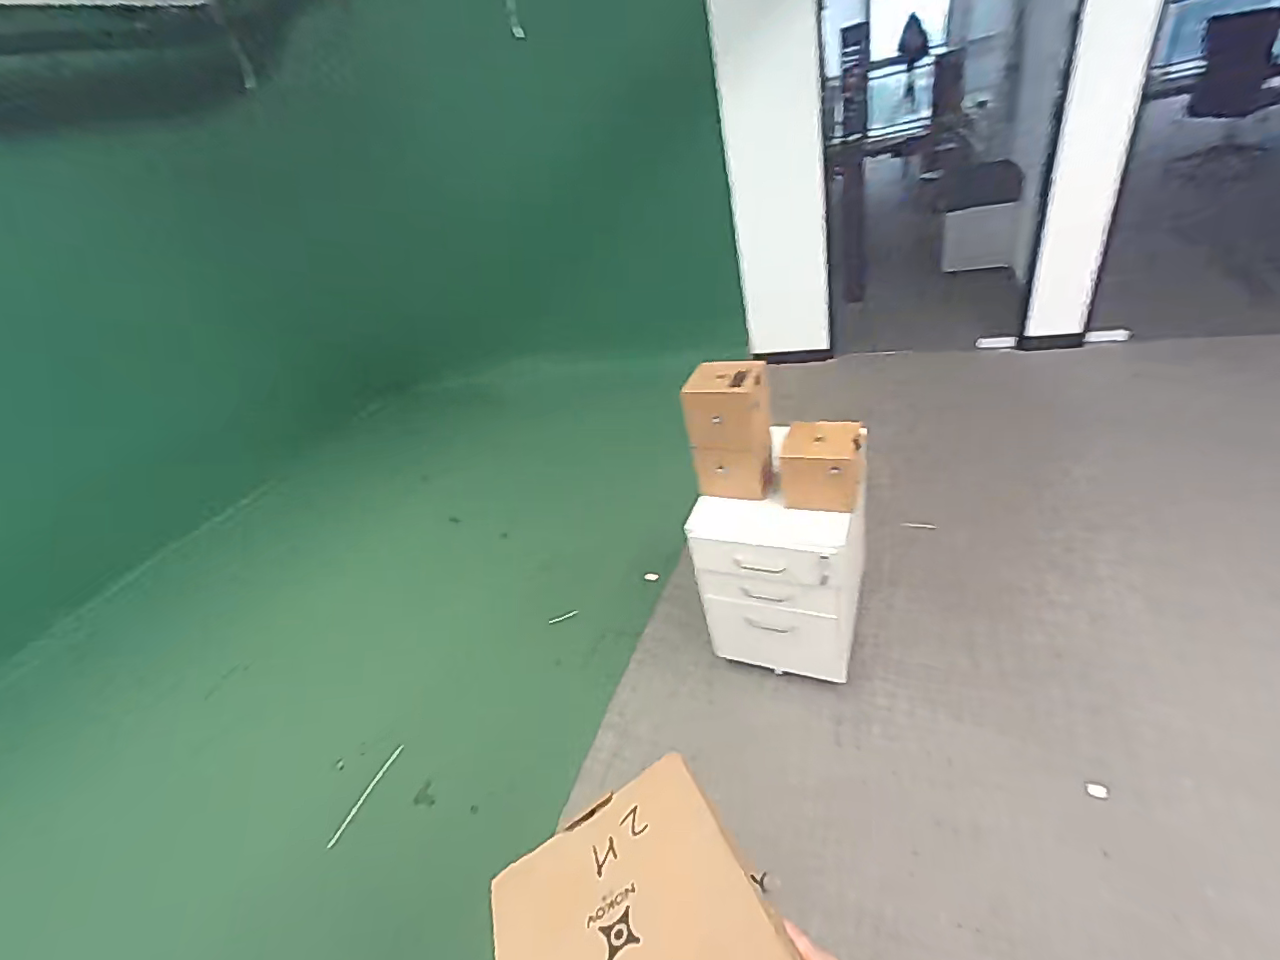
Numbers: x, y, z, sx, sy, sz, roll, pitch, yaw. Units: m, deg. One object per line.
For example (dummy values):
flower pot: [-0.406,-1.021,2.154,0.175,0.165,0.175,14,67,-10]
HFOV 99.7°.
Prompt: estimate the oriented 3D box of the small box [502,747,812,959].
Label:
small box: [0.026,0.336,0.363,0.168,0.176,0.179,-30,20,-8]

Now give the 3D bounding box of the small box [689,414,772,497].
small box: [0.255,-0.068,1.489,0.179,0.176,0.168,4,40,26]
